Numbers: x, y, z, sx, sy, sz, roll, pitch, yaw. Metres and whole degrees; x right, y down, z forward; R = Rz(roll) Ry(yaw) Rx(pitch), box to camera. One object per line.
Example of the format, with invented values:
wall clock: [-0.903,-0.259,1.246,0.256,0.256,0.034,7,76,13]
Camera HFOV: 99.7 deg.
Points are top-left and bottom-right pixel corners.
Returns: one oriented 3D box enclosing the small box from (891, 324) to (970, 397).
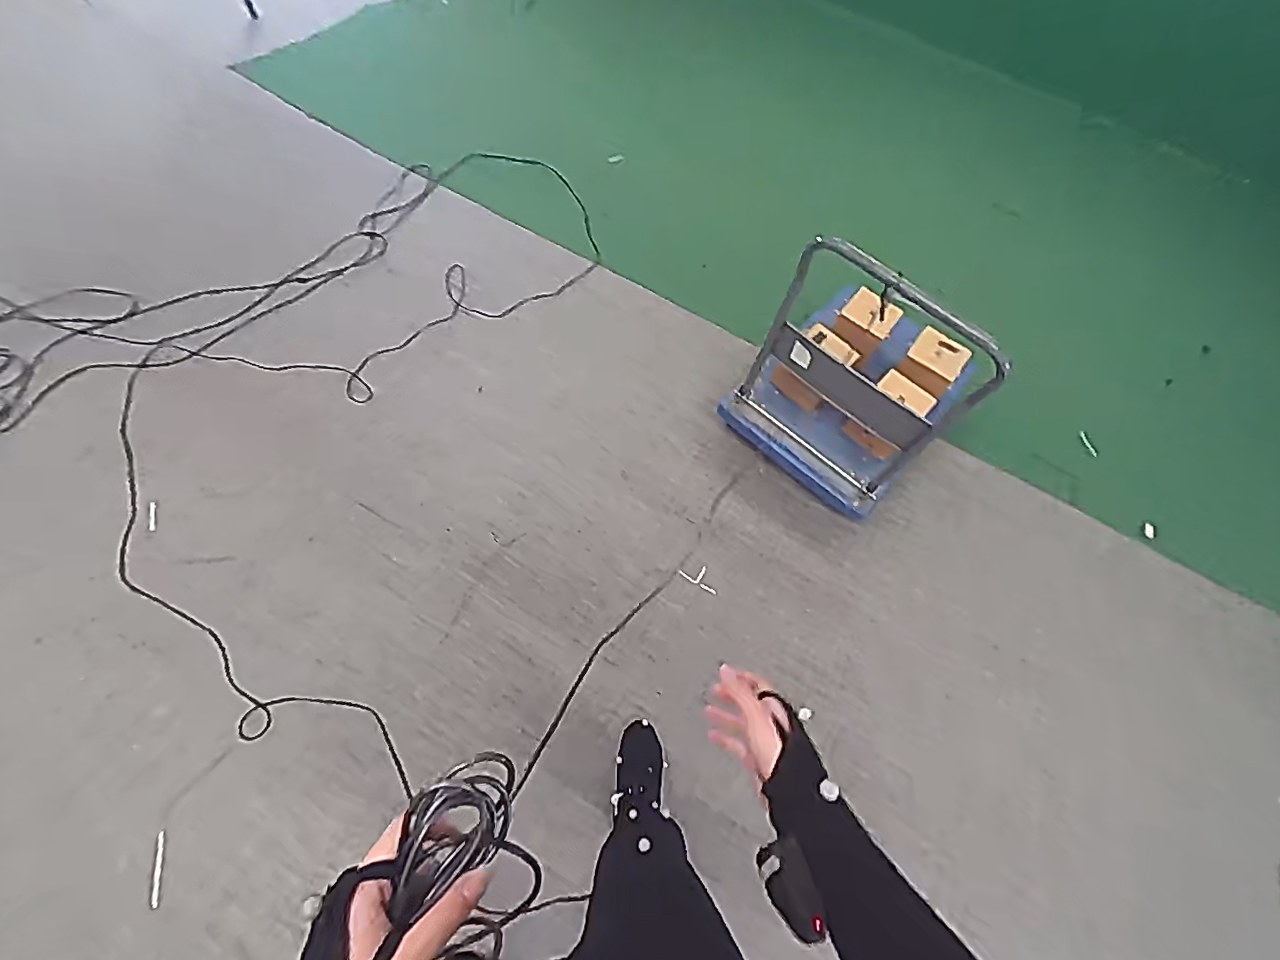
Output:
small box: [0.956,-0.381,1.816,0.168,0.176,0.179,37,64,13]

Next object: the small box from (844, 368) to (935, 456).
small box: [0.777,-0.212,1.703,0.168,0.176,0.179,41,65,14]

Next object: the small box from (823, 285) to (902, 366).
small box: [0.759,-0.528,1.869,0.168,0.176,0.179,37,64,12]
